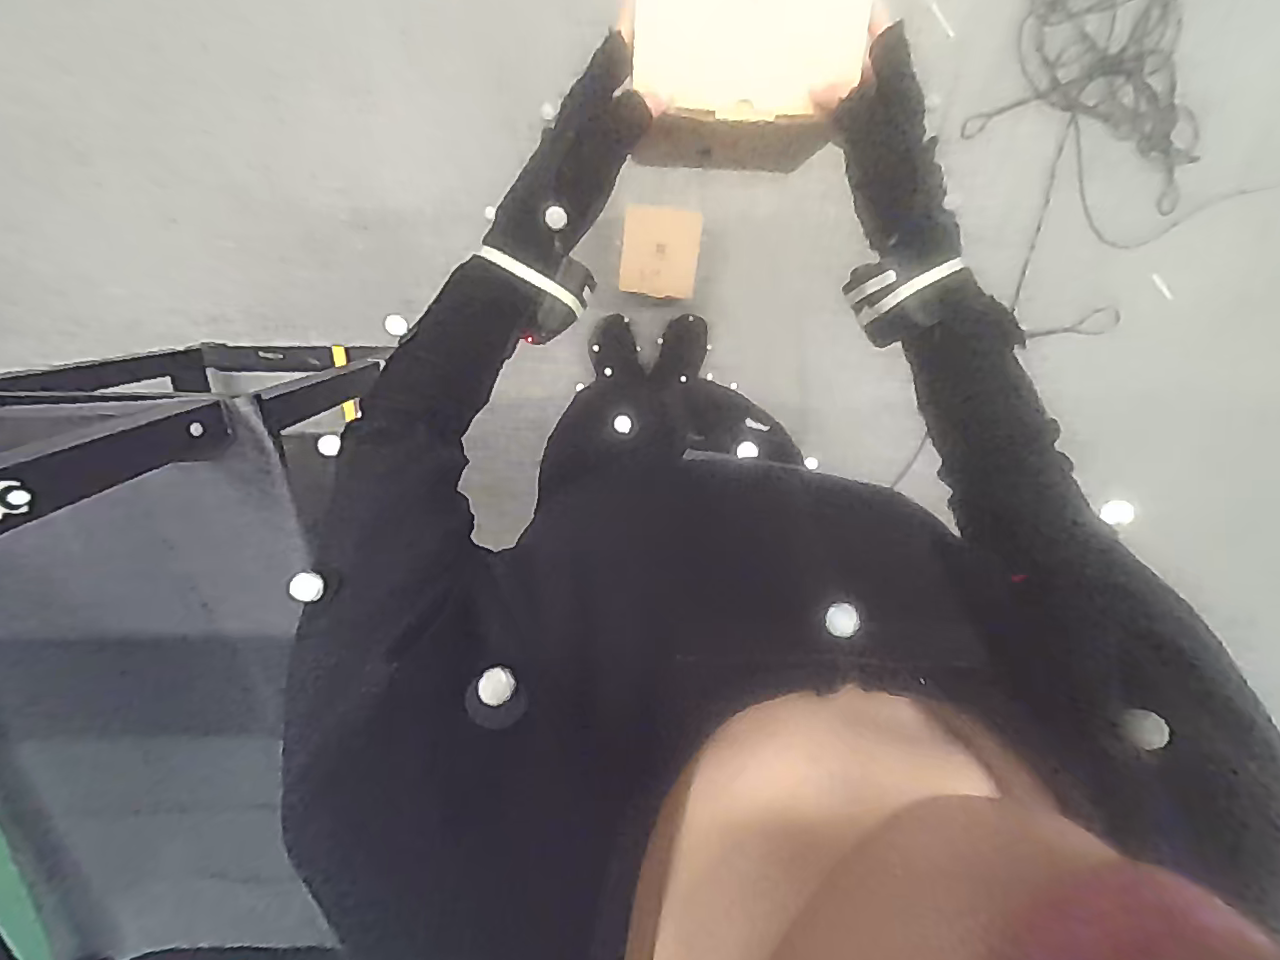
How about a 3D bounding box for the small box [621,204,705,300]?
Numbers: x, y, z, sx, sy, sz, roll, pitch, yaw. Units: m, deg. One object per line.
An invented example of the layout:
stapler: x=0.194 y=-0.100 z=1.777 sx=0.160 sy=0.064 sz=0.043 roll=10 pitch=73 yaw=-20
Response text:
small box: x=0.047 y=-0.516 z=1.240 sx=0.168 sy=0.176 sz=0.179 roll=6 pitch=110 yaw=-3
